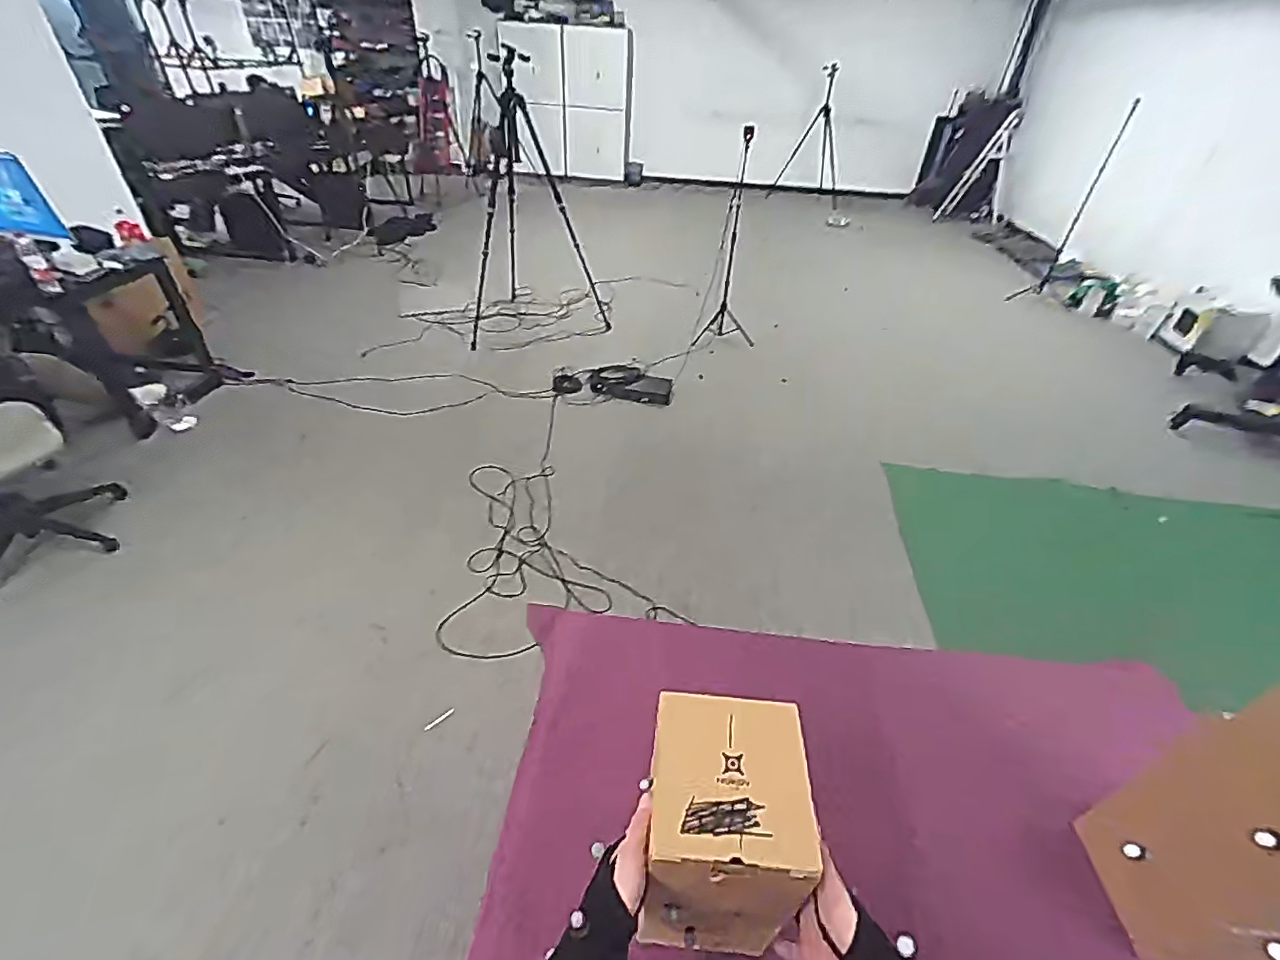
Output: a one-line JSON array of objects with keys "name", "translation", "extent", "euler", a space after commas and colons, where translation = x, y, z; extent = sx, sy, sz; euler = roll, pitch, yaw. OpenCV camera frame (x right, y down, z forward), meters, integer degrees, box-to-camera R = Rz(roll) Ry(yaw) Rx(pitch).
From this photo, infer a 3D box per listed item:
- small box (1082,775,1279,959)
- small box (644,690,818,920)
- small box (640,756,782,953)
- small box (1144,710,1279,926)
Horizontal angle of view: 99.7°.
[{"name": "small box", "translation": [0.758, 0.533, 0.728], "extent": [0.168, 0.176, 0.179], "euler": [4, 37, 3]}, {"name": "small box", "translation": [0.094, 0.373, 0.623], "extent": [0.168, 0.176, 0.179], "euler": [5, 37, 3]}, {"name": "small box", "translation": [0.088, 0.502, 0.726], "extent": [0.168, 0.176, 0.179], "euler": [4, 38, 3]}, {"name": "small box", "translation": [0.764, 0.401, 0.628], "extent": [0.168, 0.176, 0.179], "euler": [6, 38, 4]}]
